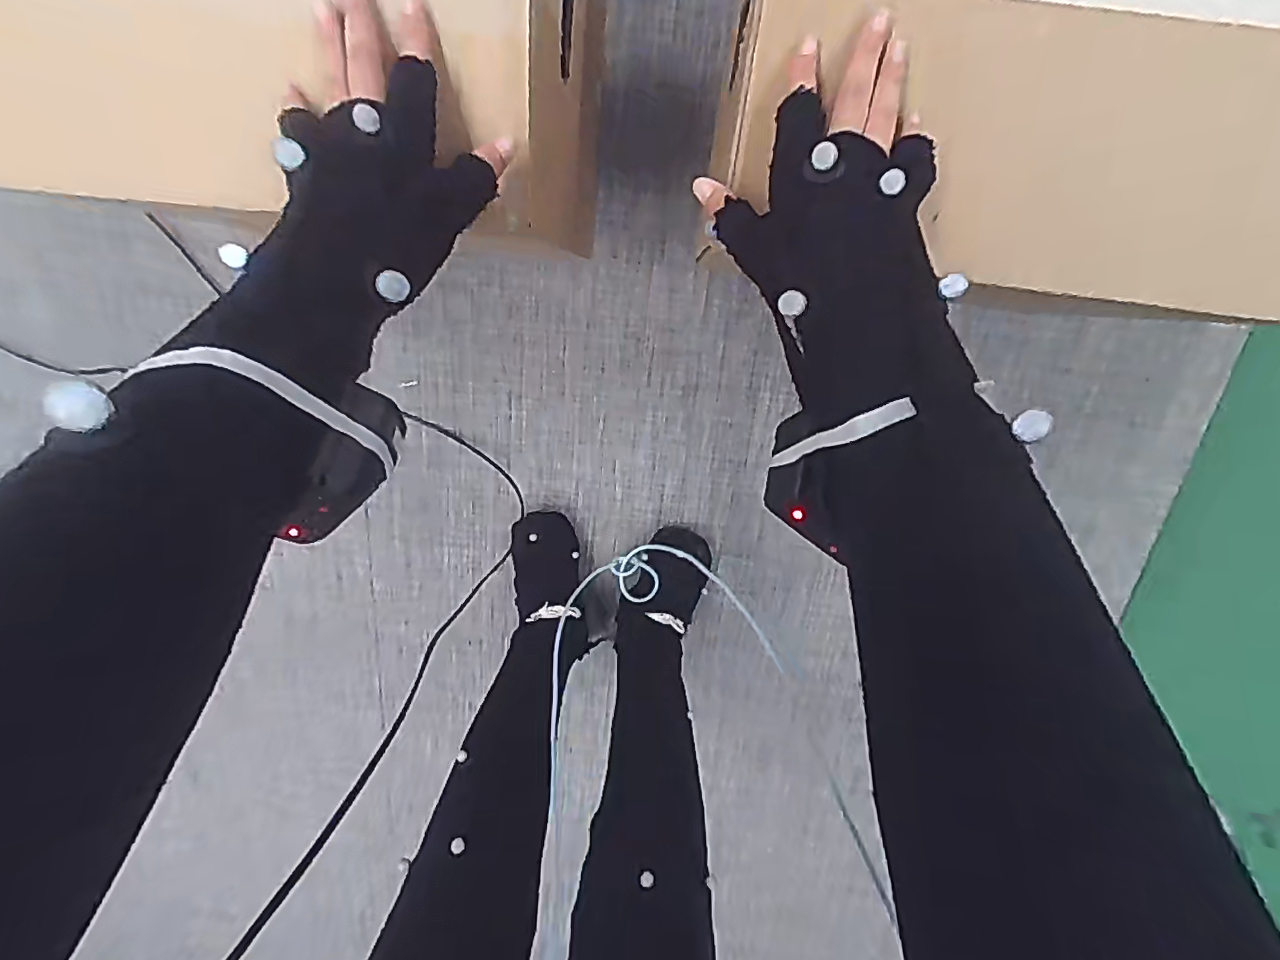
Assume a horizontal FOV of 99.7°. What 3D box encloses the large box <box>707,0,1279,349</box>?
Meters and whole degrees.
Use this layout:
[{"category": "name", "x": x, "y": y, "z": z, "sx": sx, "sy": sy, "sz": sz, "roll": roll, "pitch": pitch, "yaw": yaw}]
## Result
[{"category": "large box", "x": 0.289, "y": -0.310, "z": 0.481, "sx": 0.408, "sy": 0.320, "sz": 0.320, "roll": 8, "pitch": 108, "yaw": 1}]
